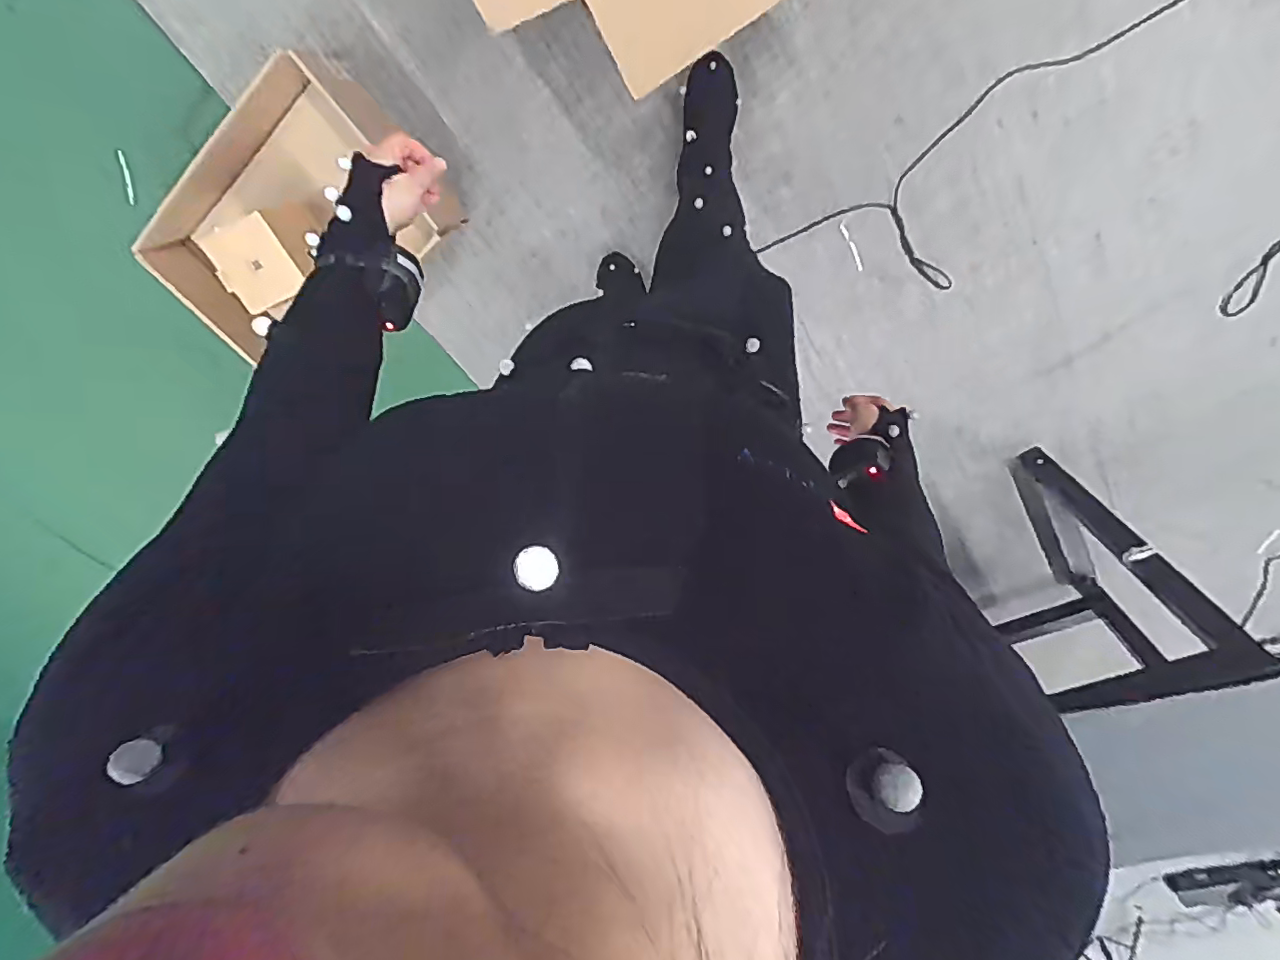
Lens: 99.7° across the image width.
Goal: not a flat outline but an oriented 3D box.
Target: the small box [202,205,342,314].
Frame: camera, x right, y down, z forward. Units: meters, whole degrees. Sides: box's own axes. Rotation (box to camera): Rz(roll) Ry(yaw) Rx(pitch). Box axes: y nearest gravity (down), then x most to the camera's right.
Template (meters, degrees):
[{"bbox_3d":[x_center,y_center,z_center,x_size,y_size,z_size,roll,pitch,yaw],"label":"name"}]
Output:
[{"bbox_3d":[-0.822,-0.508,1.236,0.179,0.176,0.168,-18,118,15],"label":"small box"}]
